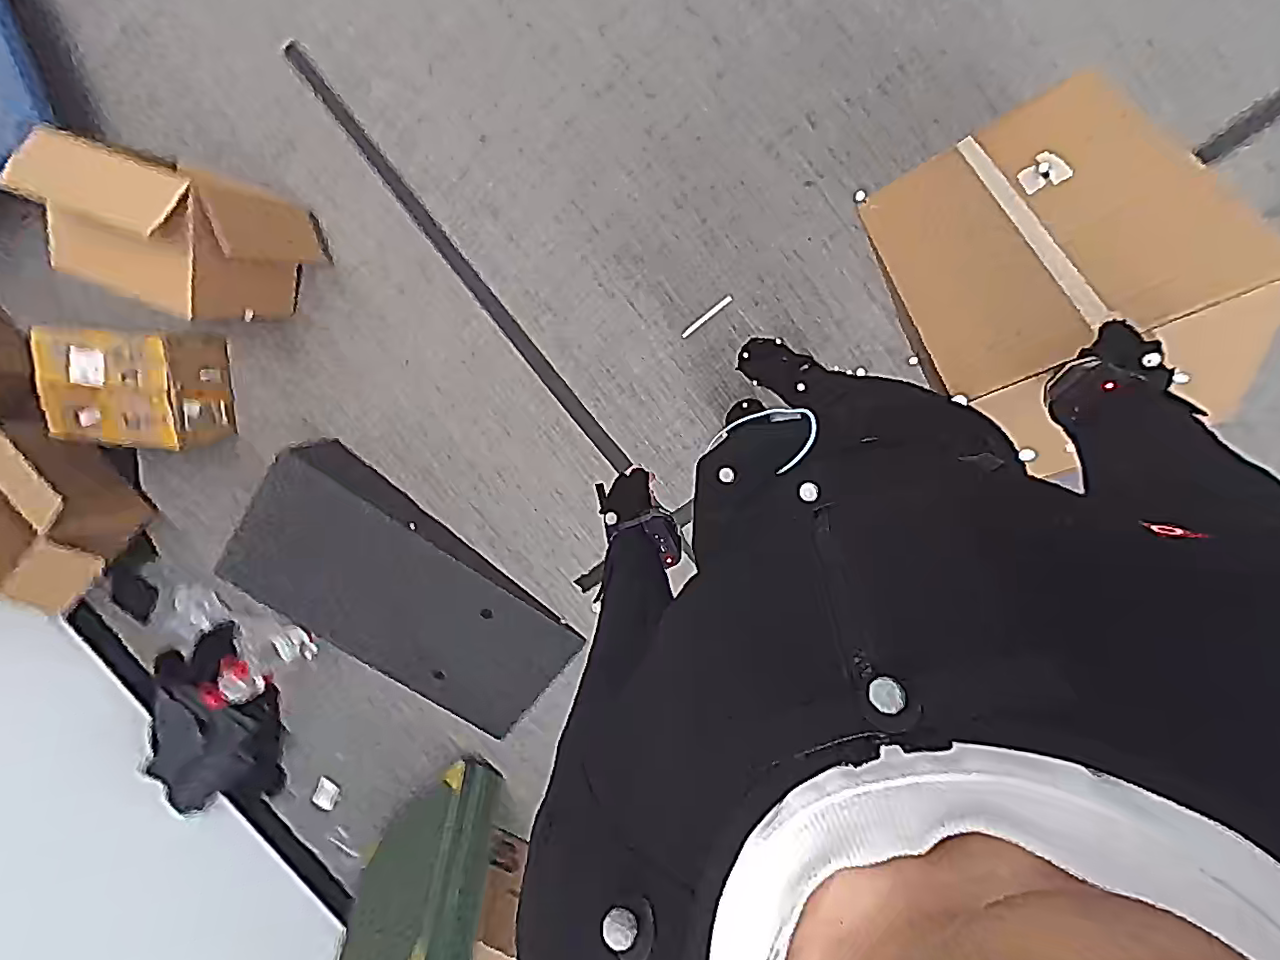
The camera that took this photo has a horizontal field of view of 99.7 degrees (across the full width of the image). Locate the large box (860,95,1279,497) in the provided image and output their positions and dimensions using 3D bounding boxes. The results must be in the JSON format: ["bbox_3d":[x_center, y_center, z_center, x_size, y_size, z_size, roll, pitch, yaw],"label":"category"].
[{"bbox_3d":[0.580,-0.247,0.806,0.320,0.320,0.408,-23,54,25],"label":"large box"}]
